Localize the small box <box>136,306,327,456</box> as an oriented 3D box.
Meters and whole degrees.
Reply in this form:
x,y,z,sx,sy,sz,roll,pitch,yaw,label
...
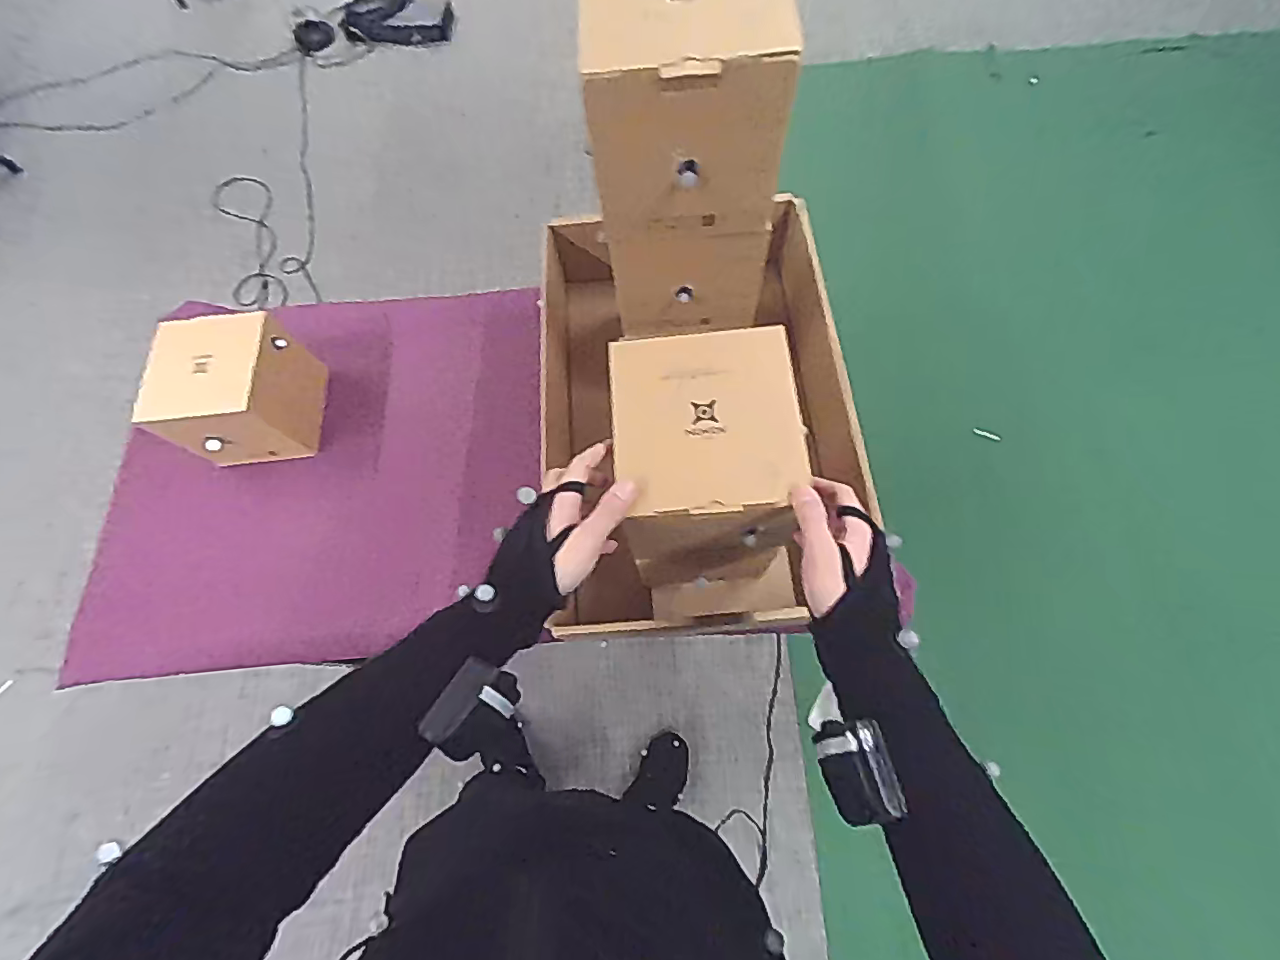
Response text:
x,y,z,sx,sy,sz,roll,pitch,yaw,label
-0.632,-0.147,0.863,0.168,0.176,0.179,-6,68,1,small box

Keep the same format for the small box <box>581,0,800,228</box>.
x,y,z,sx,sy,sz,roll,pitch,yaw,label
0.042,-0.356,0.500,0.168,0.176,0.179,-2,71,3,small box

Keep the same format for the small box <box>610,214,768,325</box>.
x,y,z,sx,sy,sz,roll,pitch,yaw,label
0.055,-0.303,0.654,0.168,0.176,0.179,-2,70,3,small box
